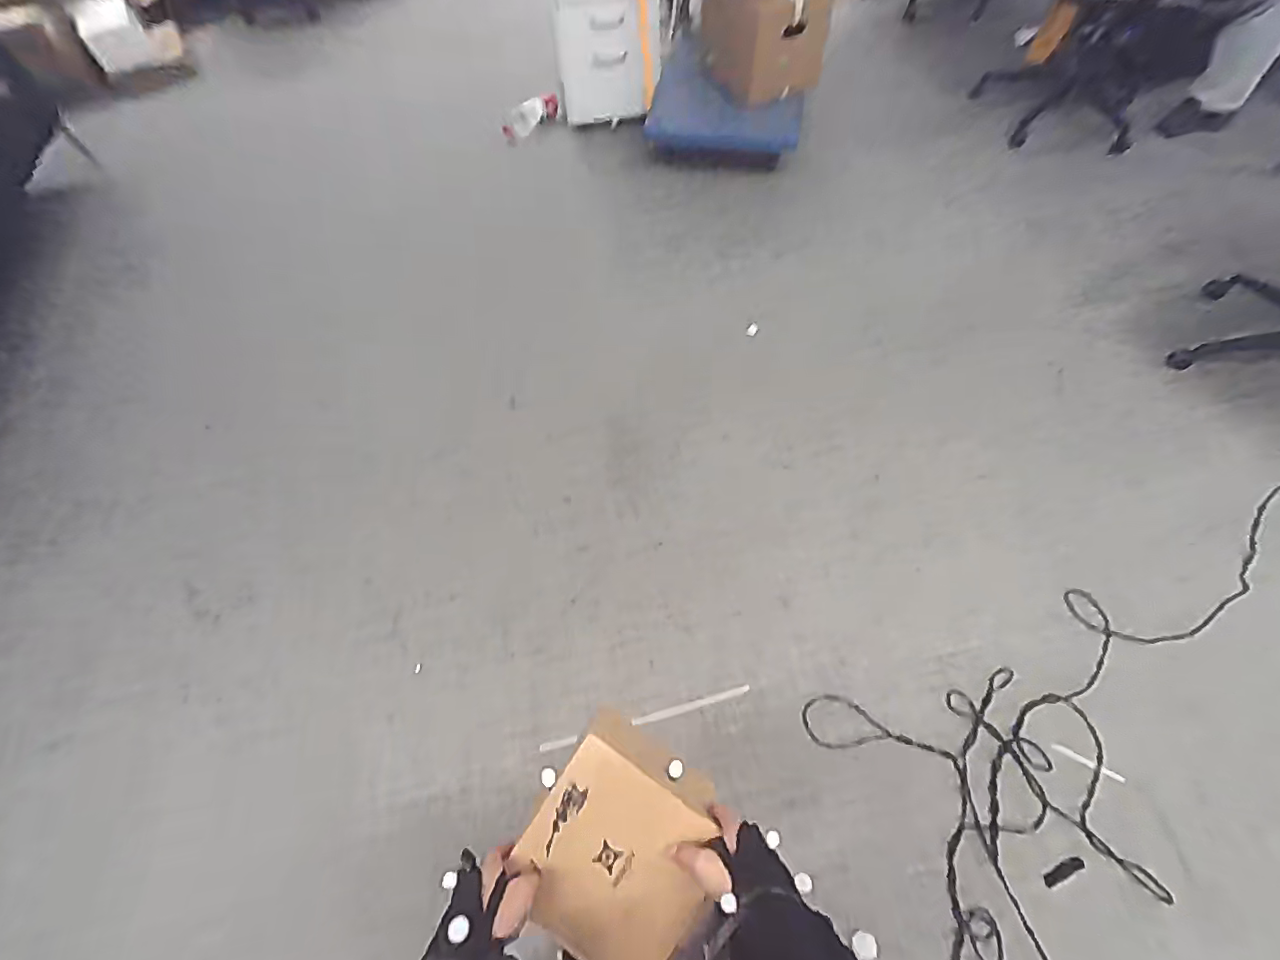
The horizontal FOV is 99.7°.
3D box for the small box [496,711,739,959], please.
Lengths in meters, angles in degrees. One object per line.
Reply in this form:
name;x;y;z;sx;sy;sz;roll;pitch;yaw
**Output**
small box;-0.020;0.379;0.589;0.179;0.176;0.168;34;79;8
